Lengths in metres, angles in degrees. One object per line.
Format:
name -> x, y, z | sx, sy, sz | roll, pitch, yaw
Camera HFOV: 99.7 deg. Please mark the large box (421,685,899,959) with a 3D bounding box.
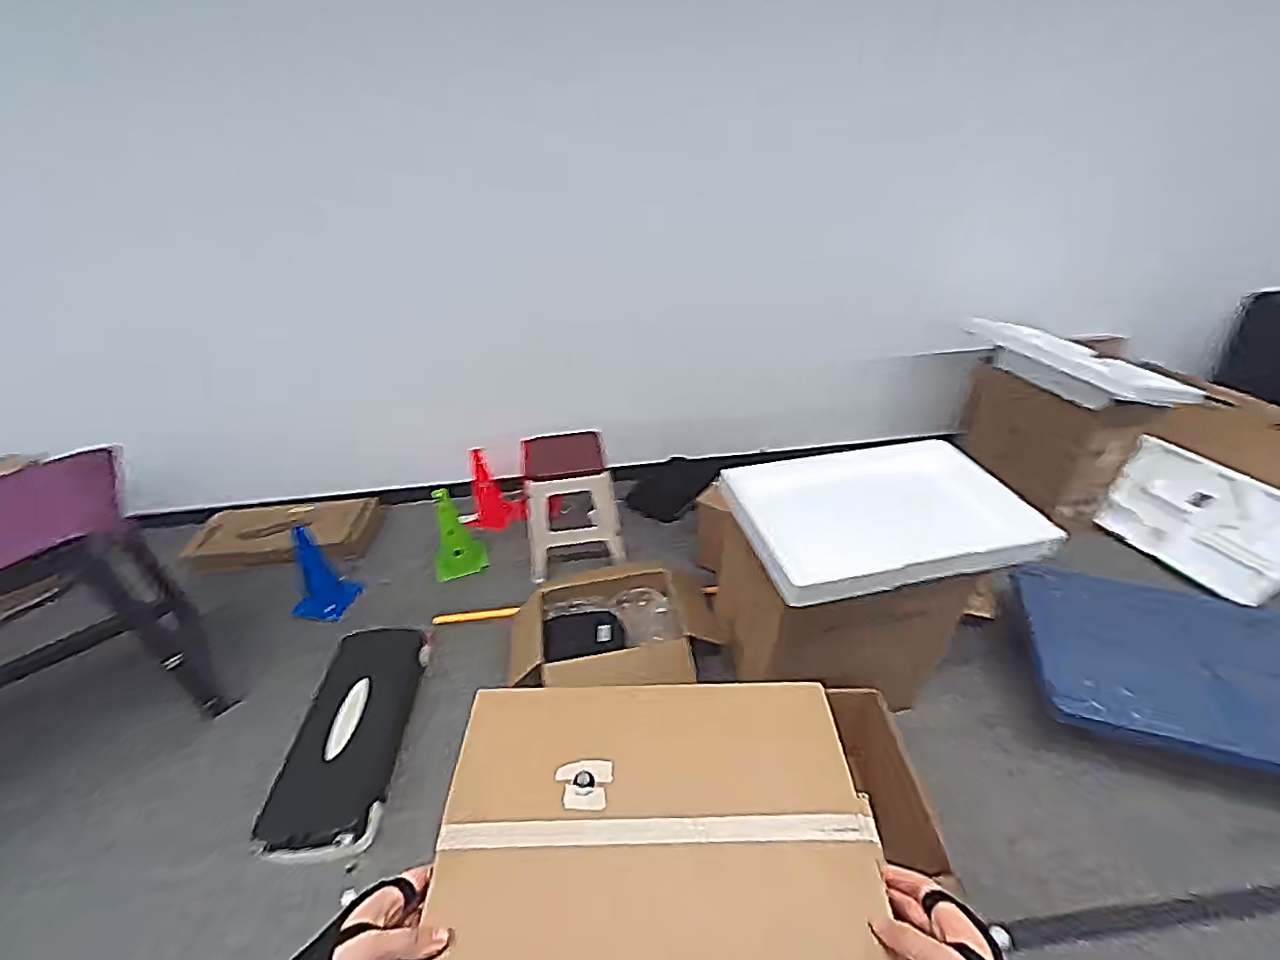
large box -> 0.020, 0.465, 0.605 | 0.408, 0.320, 0.320 | -4, 36, 1
